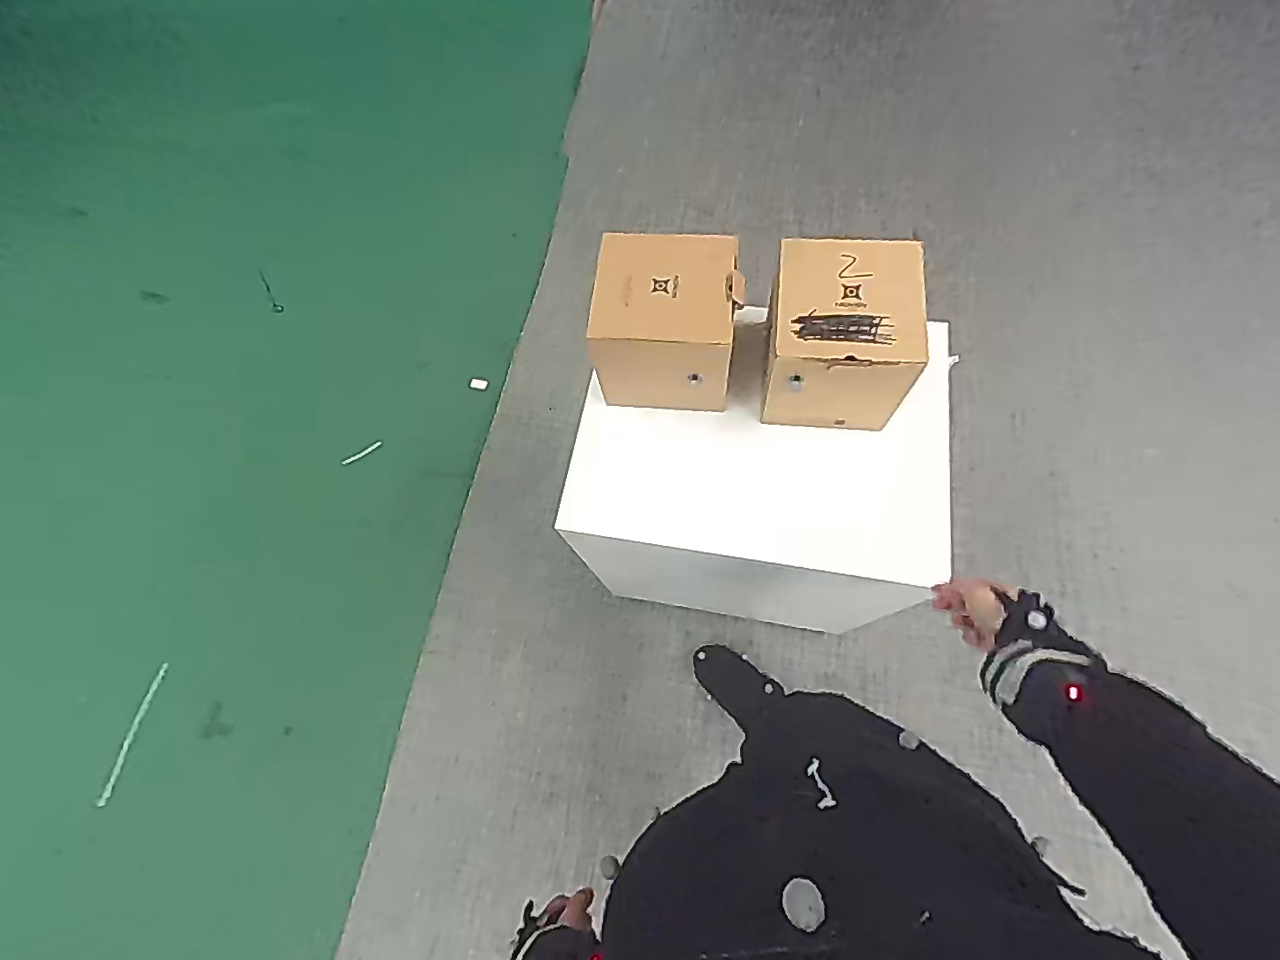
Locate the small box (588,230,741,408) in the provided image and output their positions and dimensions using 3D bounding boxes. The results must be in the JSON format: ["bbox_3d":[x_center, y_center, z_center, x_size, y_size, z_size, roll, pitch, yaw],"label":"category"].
[{"bbox_3d":[0.039,-0.209,0.733,0.179,0.176,0.168,4,69,7],"label":"small box"}]
